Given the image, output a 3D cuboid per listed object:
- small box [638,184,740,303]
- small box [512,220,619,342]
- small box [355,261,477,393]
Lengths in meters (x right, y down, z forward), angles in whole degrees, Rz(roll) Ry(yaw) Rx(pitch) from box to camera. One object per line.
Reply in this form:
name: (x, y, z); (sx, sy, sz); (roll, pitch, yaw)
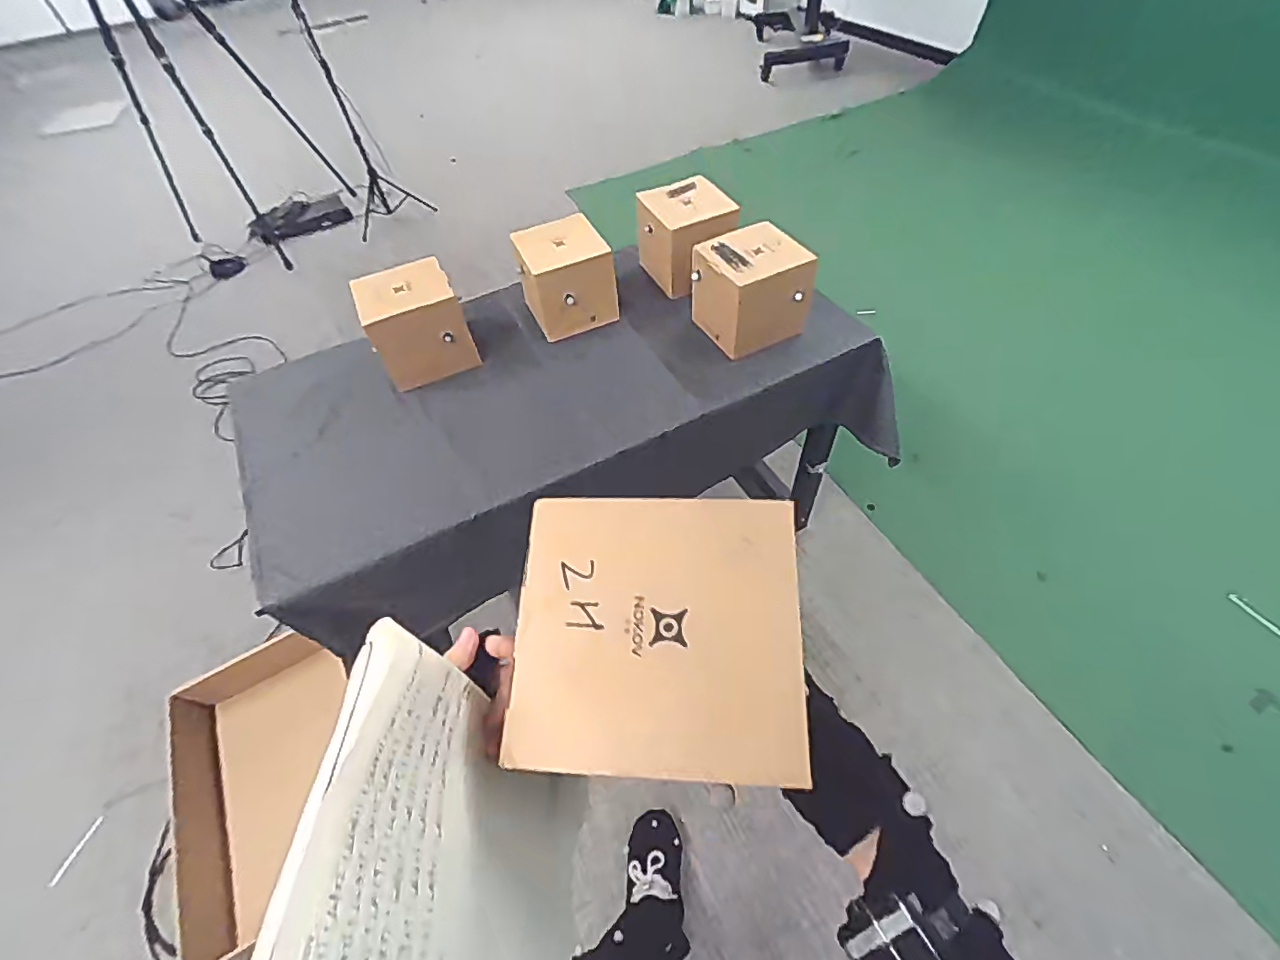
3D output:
small box: (0.106, -0.530, 1.219); (0.168, 0.176, 0.179); (-22, 55, -11)
small box: (-0.154, -0.418, 1.159); (0.168, 0.176, 0.179); (-22, 54, -12)
small box: (-0.444, -0.307, 1.093); (0.179, 0.176, 0.168); (-22, 54, -13)
